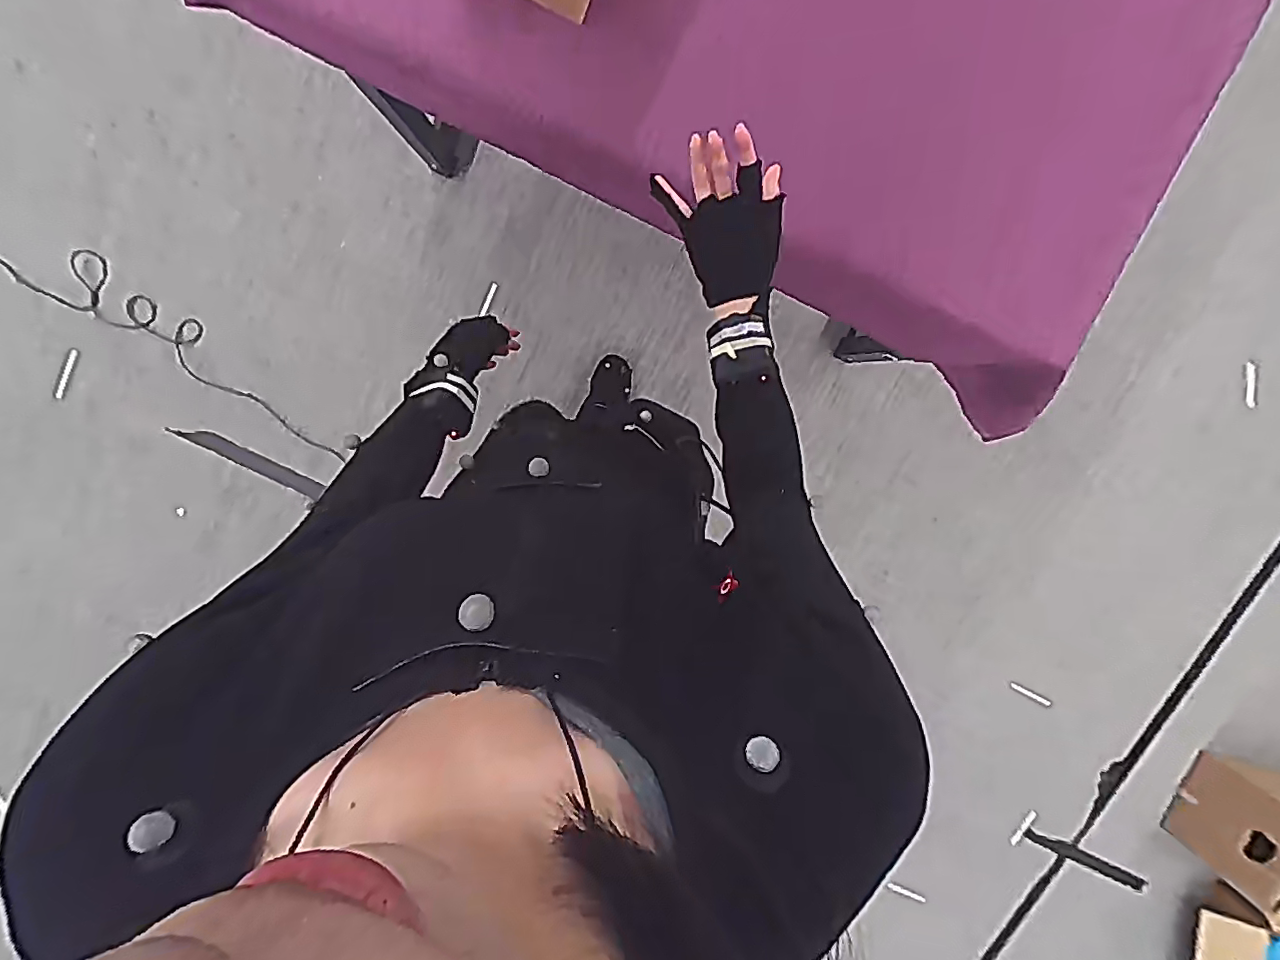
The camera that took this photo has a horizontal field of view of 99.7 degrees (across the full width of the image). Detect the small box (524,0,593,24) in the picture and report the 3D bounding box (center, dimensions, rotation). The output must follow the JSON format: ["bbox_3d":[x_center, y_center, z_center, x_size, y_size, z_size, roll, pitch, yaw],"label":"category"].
[{"bbox_3d":[-0.108,-0.644,0.559,0.168,0.176,0.179,22,99,-6],"label":"small box"}]
